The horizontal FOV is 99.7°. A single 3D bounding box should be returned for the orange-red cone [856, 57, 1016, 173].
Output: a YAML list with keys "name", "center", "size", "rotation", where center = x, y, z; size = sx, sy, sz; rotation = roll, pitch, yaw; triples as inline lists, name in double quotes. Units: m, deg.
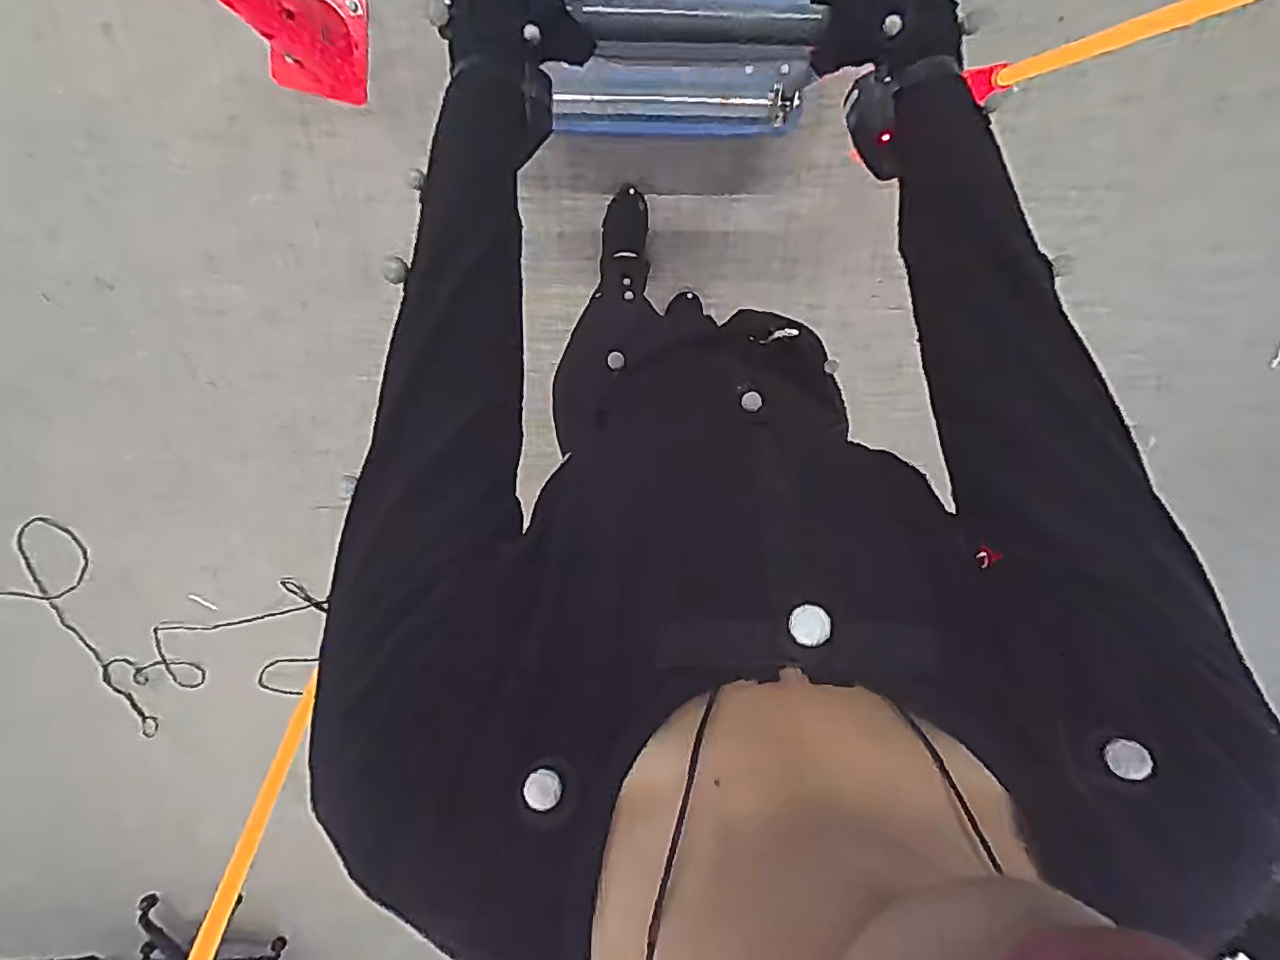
- name: "orange-red cone"
  center: [0.608, -0.747, 1.061]
  size: [0.198, 0.360, 0.199]
  rotation: [10, 114, -5]
